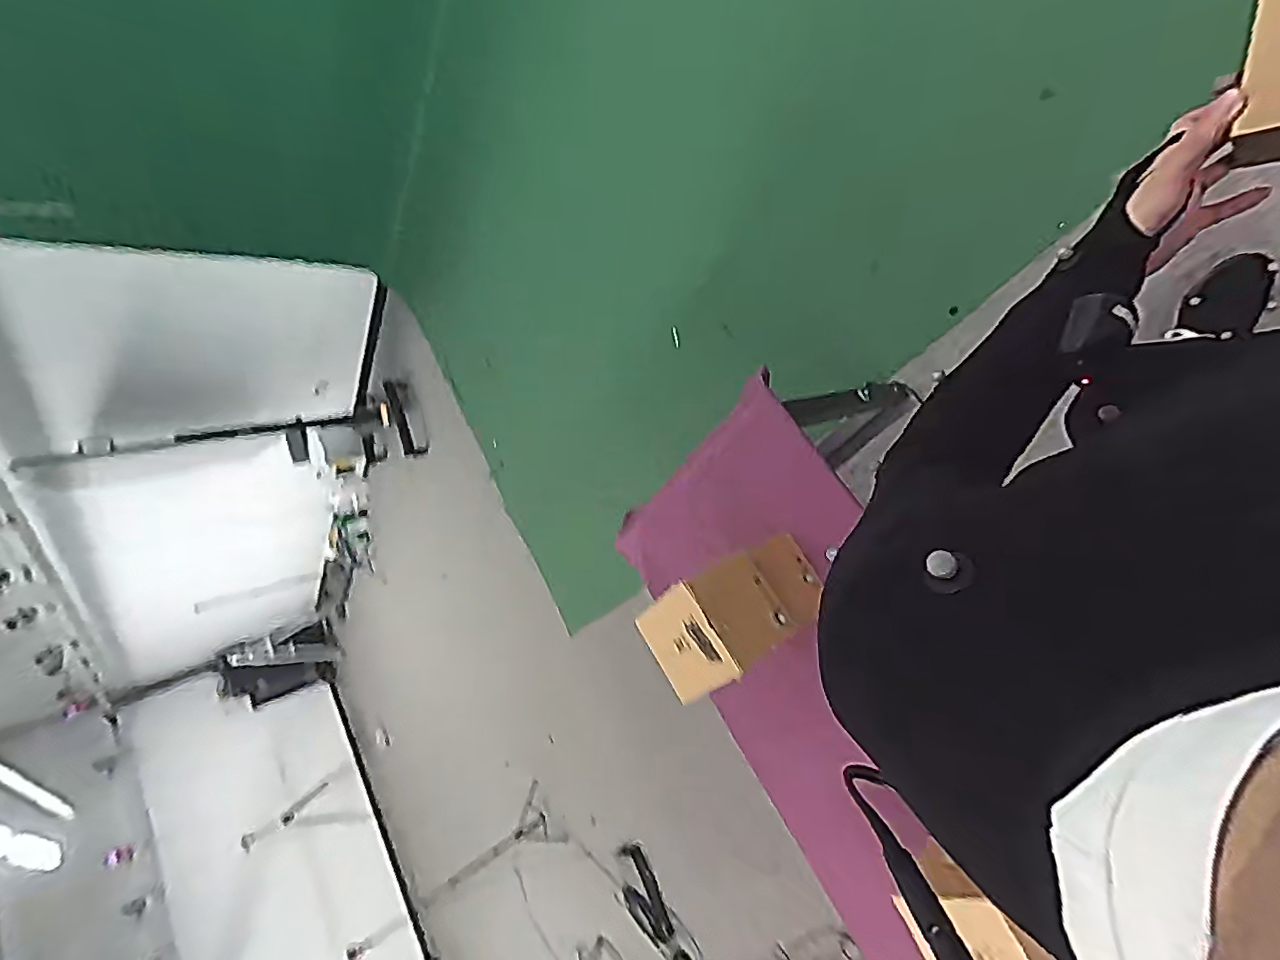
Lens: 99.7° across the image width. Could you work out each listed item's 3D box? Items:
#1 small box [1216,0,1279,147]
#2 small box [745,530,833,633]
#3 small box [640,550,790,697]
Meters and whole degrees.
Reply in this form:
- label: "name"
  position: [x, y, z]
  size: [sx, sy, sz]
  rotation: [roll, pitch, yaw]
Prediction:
- label: "small box"
  position: [0.529, -0.342, 0.360]
  size: [0.168, 0.176, 0.179]
  rotation: [15, 115, 45]
- label: "small box"
  position: [0.247, 0.224, 1.079]
  size: [0.168, 0.176, 0.179]
  rotation: [58, 136, 16]
- label: "small box"
  position: [0.138, 0.248, 0.957]
  size: [0.168, 0.176, 0.179]
  rotation: [57, 137, 17]
